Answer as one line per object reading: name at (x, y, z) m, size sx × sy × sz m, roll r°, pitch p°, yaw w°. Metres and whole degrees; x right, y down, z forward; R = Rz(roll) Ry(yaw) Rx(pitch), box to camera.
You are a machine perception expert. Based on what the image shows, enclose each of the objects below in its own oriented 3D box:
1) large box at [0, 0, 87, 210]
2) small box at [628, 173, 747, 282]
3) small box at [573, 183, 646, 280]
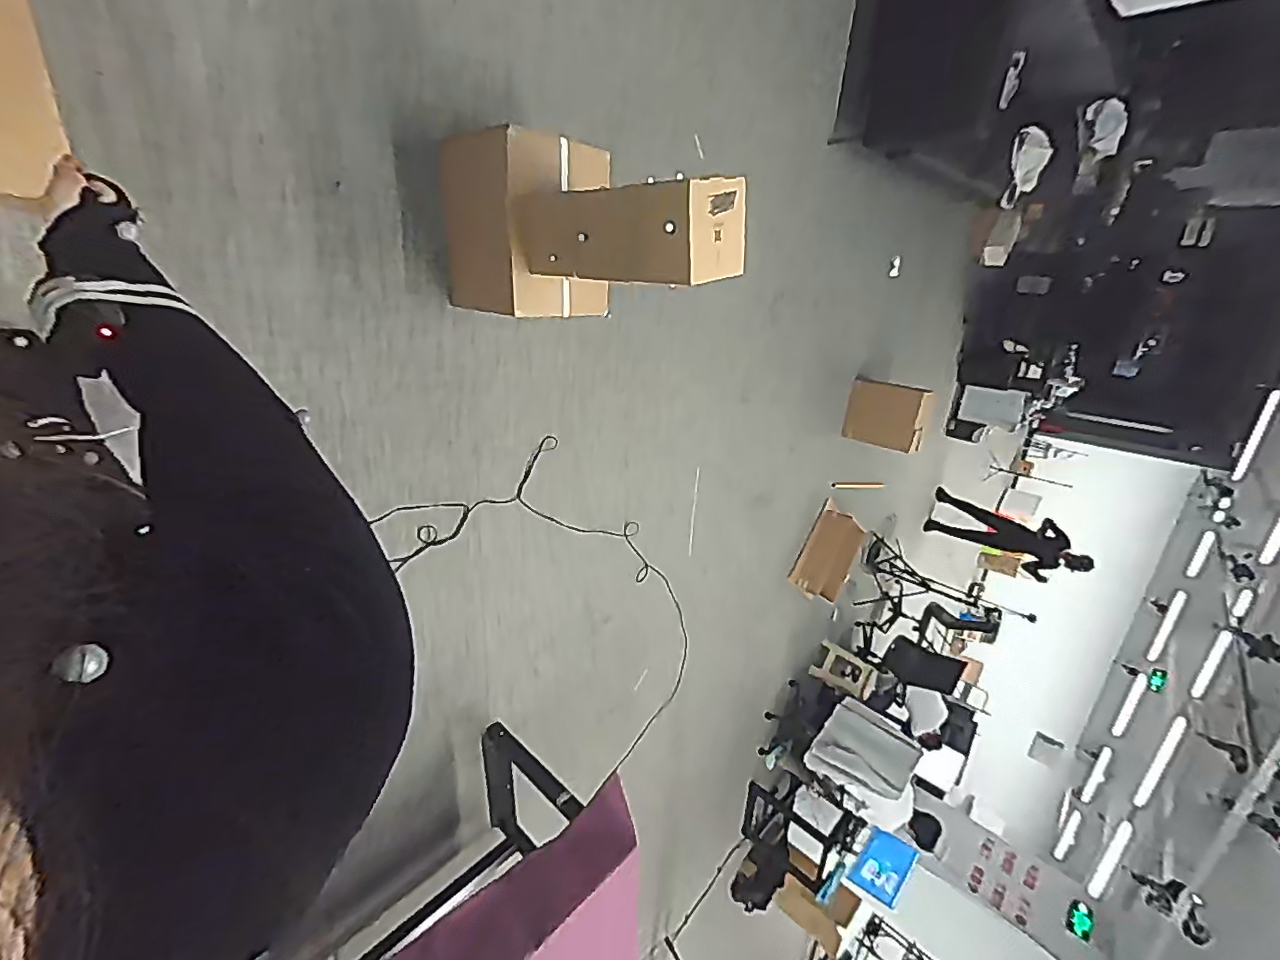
large box at (-0.994, -0.588, 0.695) m, size 0.320 × 0.320 × 0.408 m, roll -18°, pitch 118°, yaw -43°
small box at (0.090, -0.493, 1.057) m, size 0.168 × 0.176 × 0.179 m, roll -27°, pitch 126°, yaw -36°
small box at (-0.025, -0.539, 1.166) m, size 0.168 × 0.176 × 0.179 m, roll -27°, pitch 126°, yaw -37°
